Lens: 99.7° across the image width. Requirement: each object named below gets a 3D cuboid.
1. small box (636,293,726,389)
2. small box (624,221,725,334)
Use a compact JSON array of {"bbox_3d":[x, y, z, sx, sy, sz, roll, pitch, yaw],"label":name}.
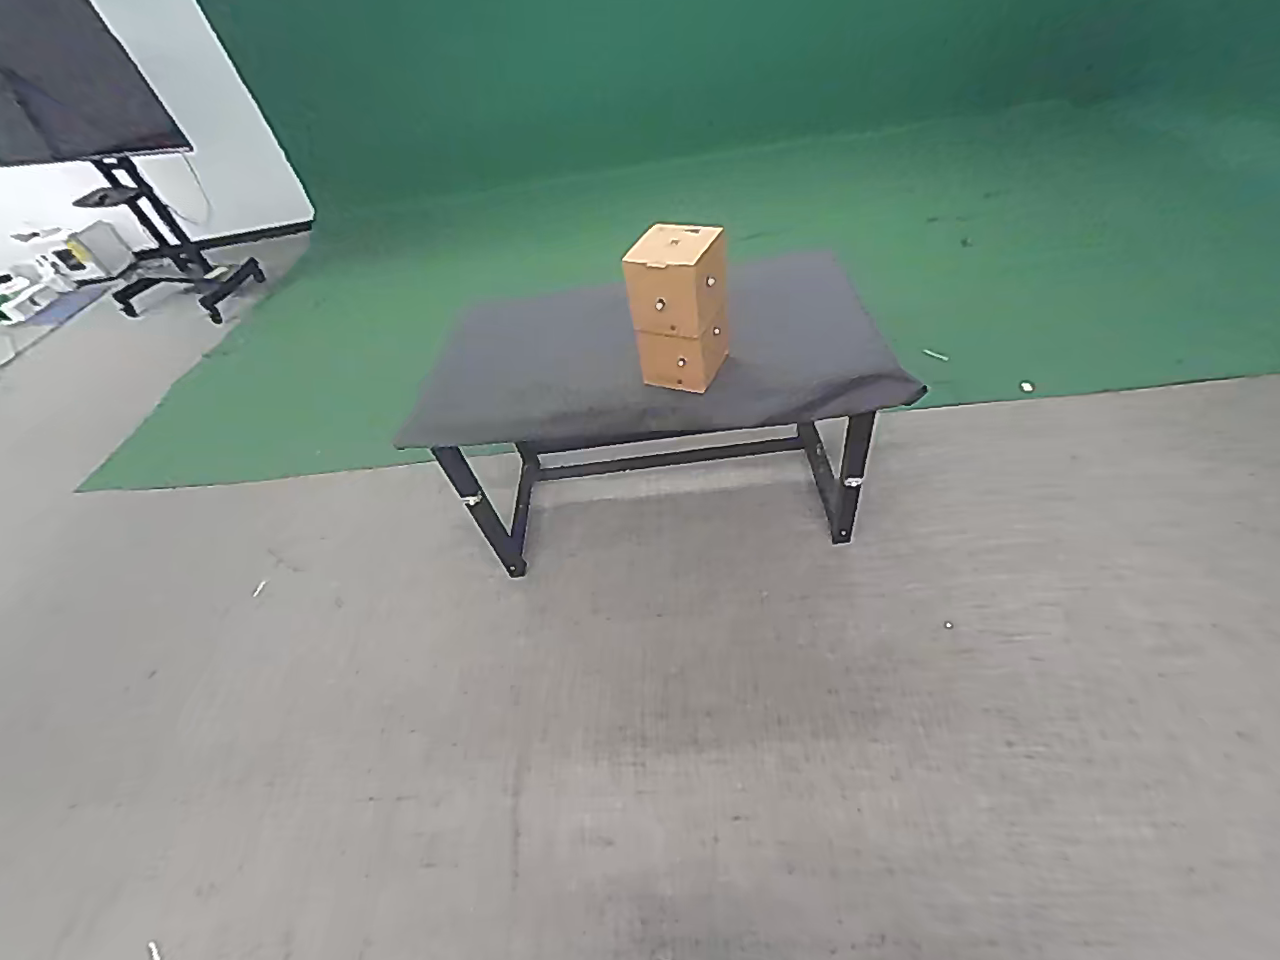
[{"bbox_3d":[0.110,-0.347,1.324,0.168,0.176,0.179,15,52,22],"label":"small box"},{"bbox_3d":[0.086,-0.447,1.195,0.168,0.176,0.179,15,54,23],"label":"small box"}]
